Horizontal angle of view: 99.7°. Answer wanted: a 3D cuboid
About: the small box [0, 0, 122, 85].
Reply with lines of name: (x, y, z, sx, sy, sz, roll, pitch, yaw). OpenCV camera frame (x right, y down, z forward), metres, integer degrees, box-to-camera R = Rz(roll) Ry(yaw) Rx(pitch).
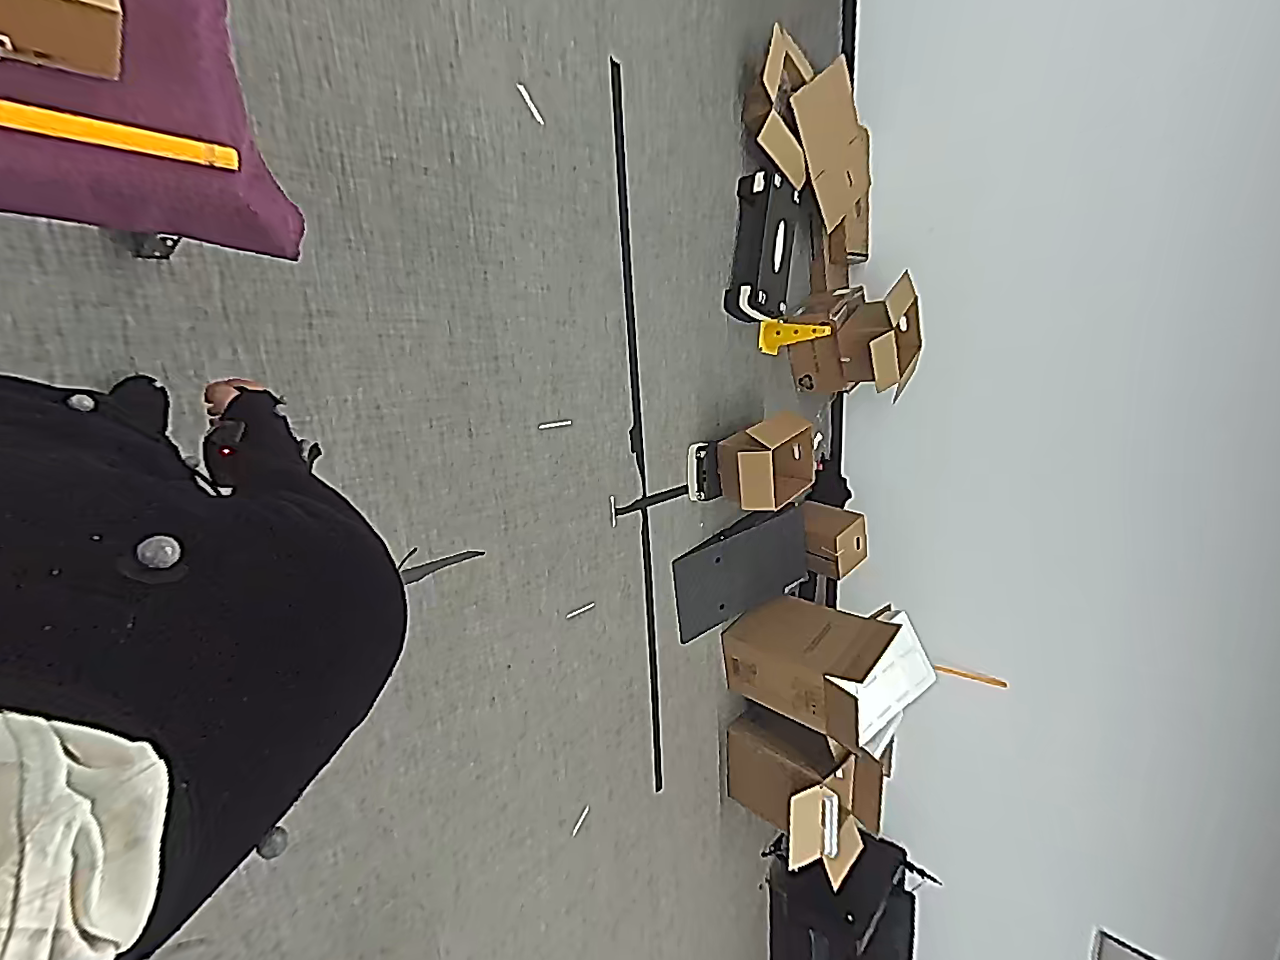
small box: (-0.620, -0.520, 0.505, 0.168, 0.176, 0.179, -16, 107, -42)
